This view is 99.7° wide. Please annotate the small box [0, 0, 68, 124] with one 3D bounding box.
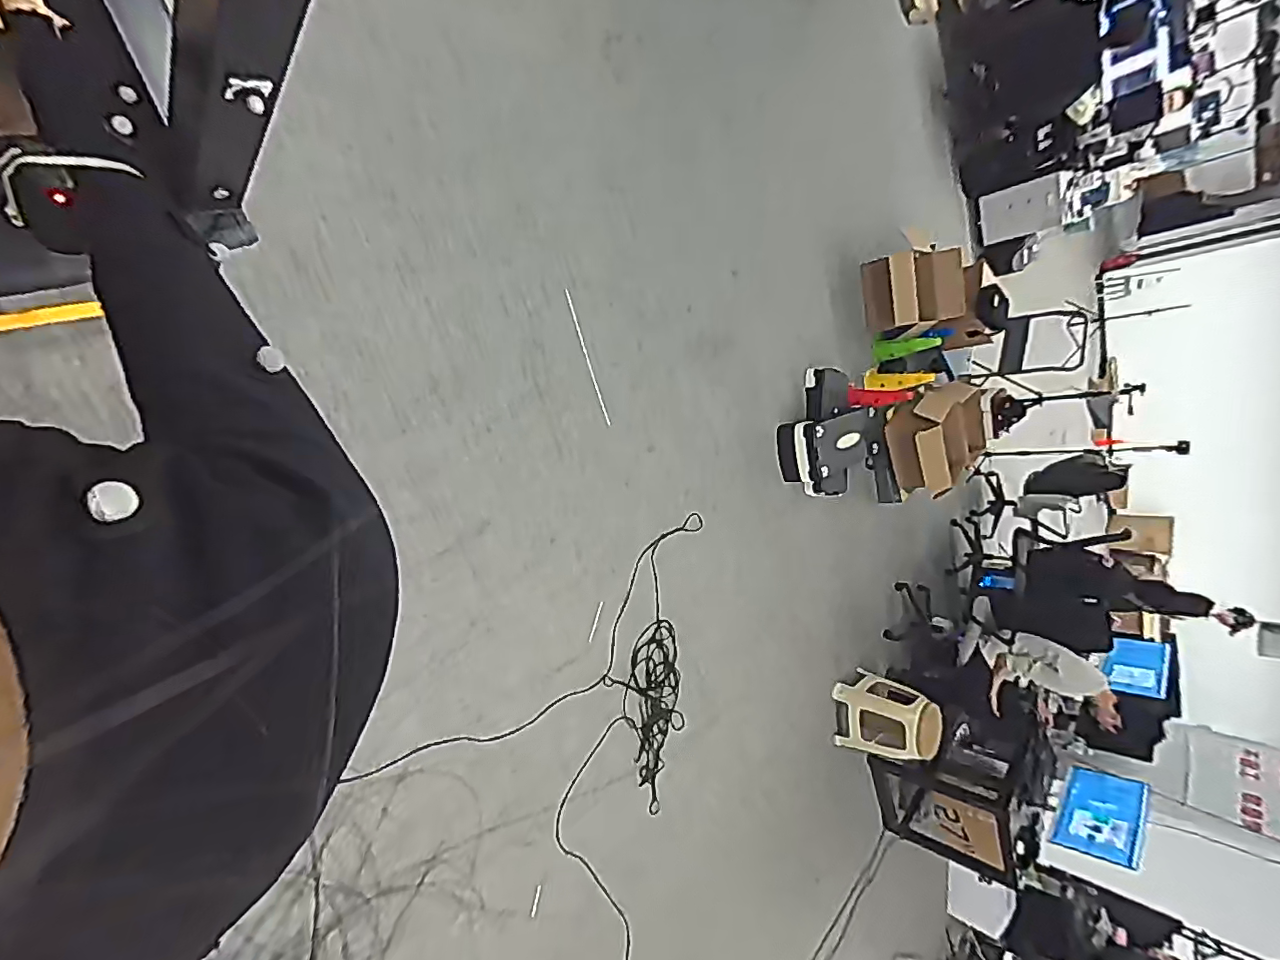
[{"bbox_3d":[-0.589,-0.398,0.408,0.168,0.176,0.179,-32,110,-39],"label":"small box"}]
